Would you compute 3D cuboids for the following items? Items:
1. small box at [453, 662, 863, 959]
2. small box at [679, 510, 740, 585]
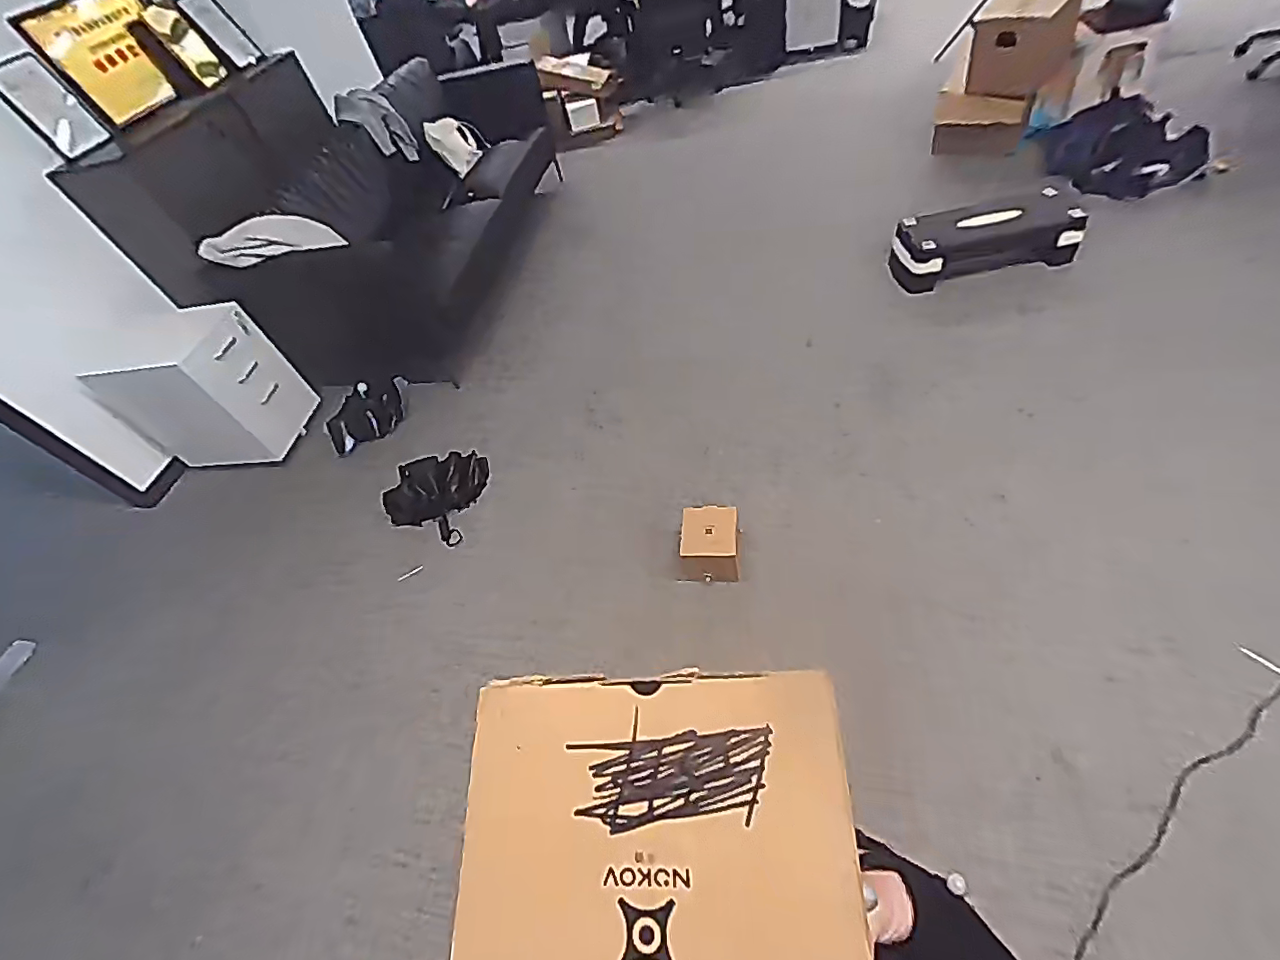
[{"bbox_3d":[0.017,0.204,0.293,0.168,0.176,0.179,-6,64,9],"label":"small box"},{"bbox_3d":[0.222,0.211,1.687,0.168,0.176,0.179,-3,52,14],"label":"small box"}]
